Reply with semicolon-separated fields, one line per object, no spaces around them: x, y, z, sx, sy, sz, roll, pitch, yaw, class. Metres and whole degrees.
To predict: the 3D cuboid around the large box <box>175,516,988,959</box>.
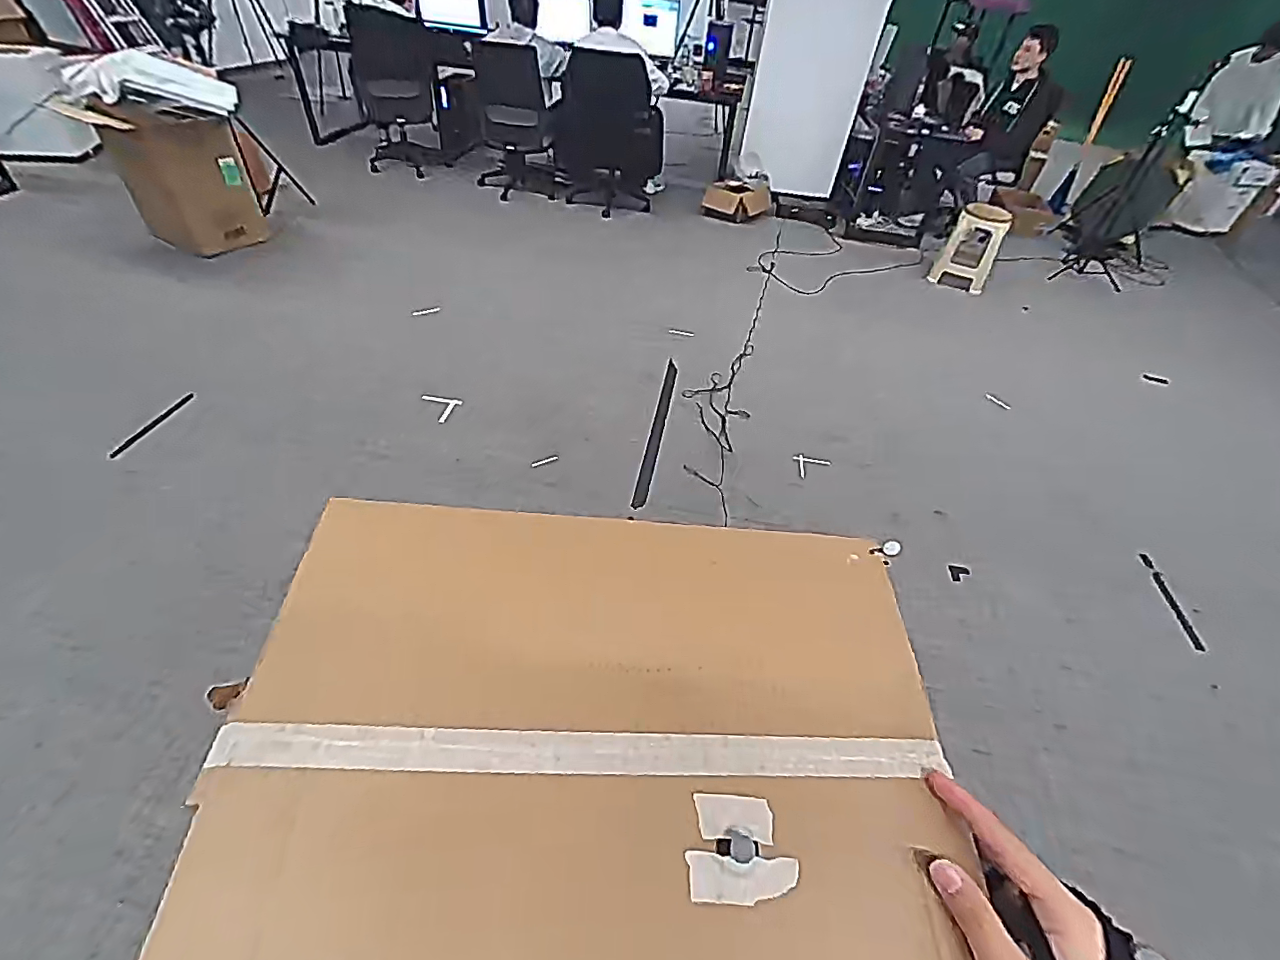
-0.036;0.251;0.433;0.408;0.320;0.320;5;54;-7;large box
